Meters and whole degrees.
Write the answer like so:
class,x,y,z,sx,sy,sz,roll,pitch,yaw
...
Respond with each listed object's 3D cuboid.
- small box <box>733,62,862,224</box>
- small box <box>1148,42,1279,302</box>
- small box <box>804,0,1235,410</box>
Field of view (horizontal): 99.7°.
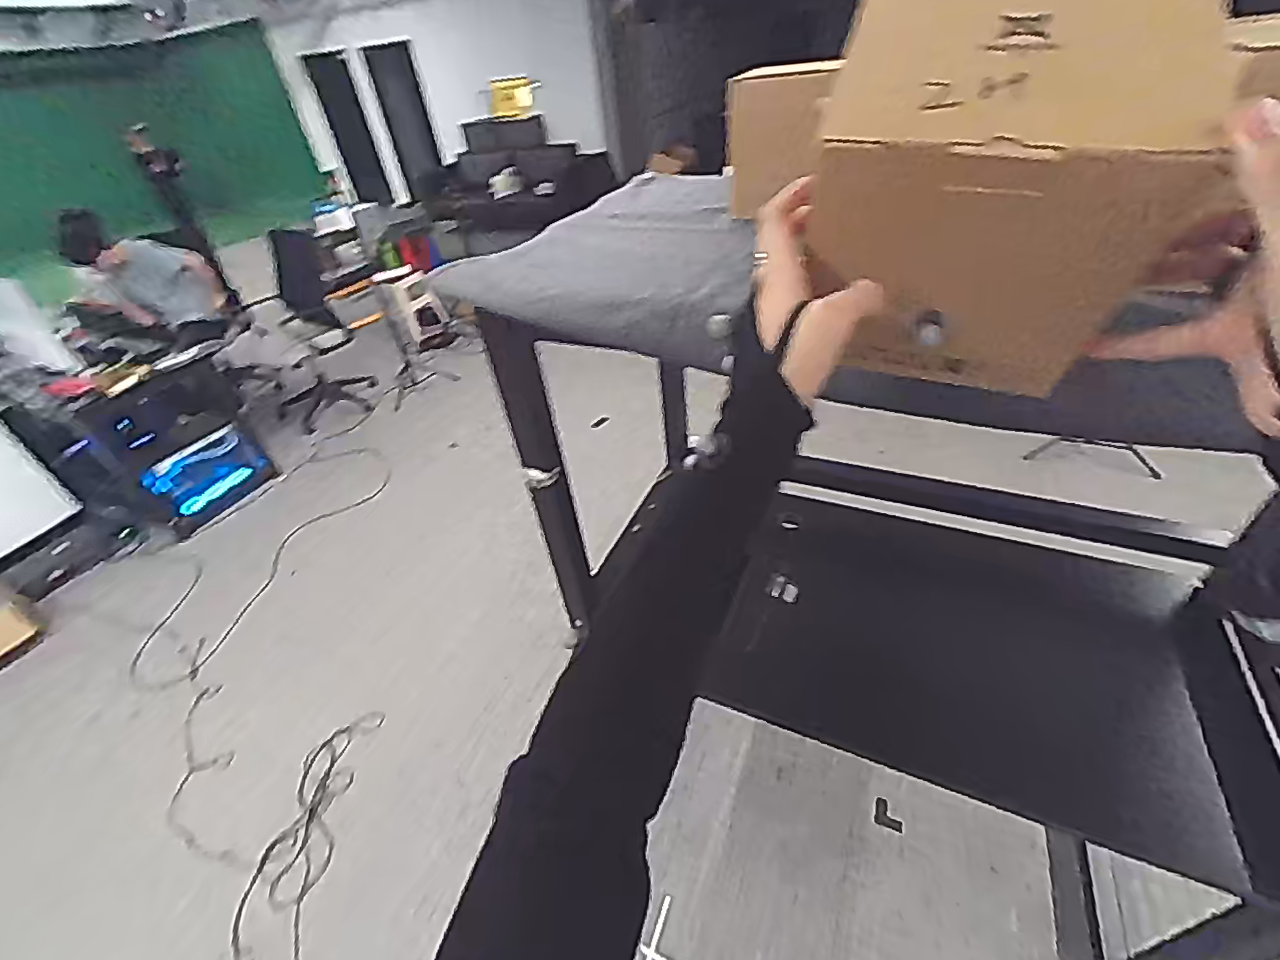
class,x,y,z,sx,sy,sz,roll,pitch,yaw
small box,0.236,-0.469,0.758,0.179,0.176,0.168,10,42,20
small box,0.536,-0.257,0.451,0.168,0.176,0.179,11,41,21
small box,0.210,-0.174,0.346,0.168,0.176,0.179,15,67,18
